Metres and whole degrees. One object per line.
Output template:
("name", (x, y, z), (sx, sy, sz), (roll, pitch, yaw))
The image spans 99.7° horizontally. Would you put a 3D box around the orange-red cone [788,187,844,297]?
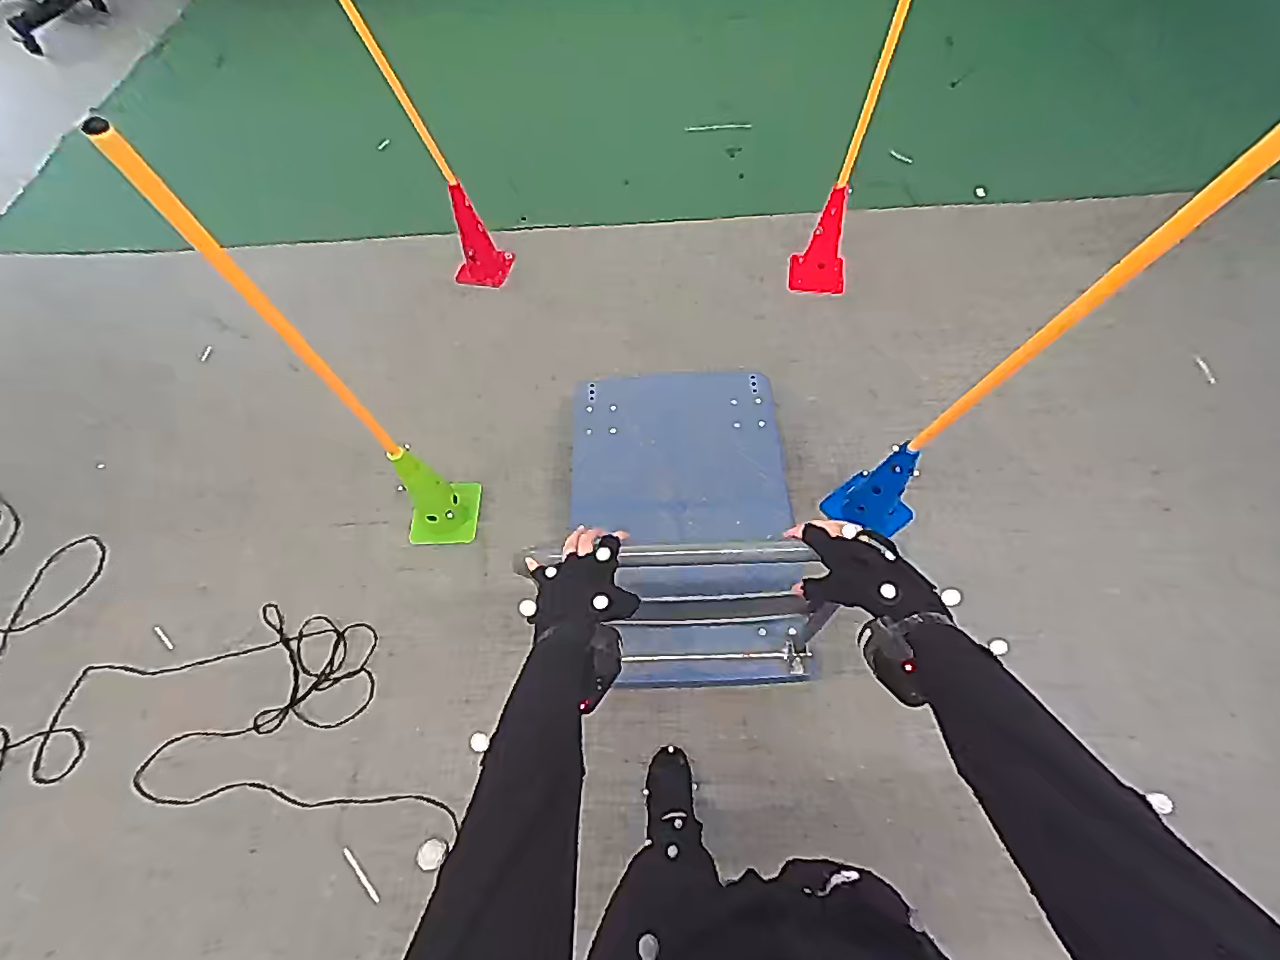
("orange-red cone", (0.653, -0.847, 1.892), (0.198, 0.360, 0.199), (8, 63, 9))
